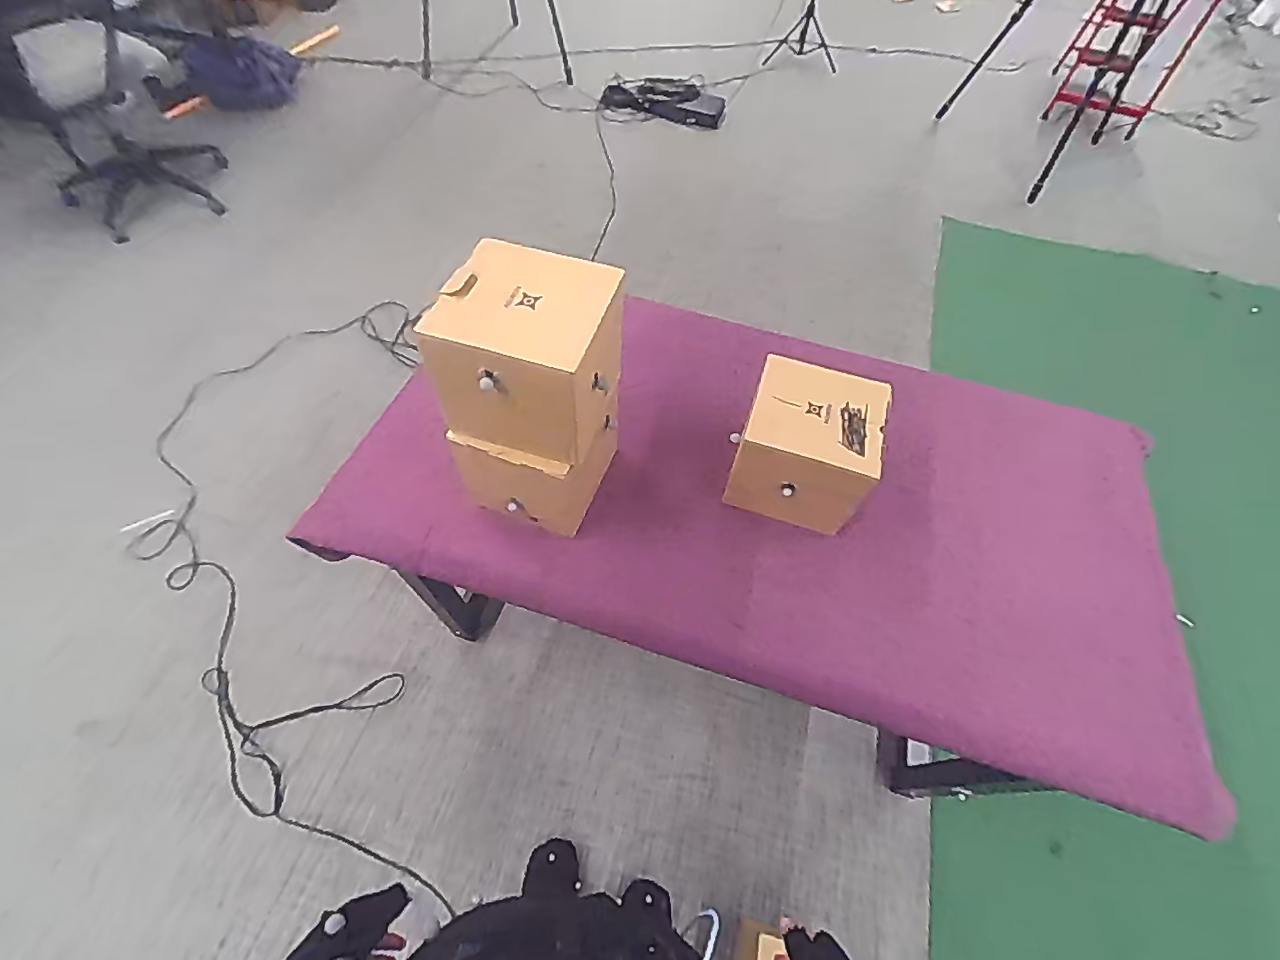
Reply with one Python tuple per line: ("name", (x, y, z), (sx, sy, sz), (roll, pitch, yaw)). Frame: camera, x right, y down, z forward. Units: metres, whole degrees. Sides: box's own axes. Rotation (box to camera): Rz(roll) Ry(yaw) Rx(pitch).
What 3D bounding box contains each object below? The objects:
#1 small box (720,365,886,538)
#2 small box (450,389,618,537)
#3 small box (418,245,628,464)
("small box", (0.233, -0.034, 0.797), (0.179, 0.176, 0.168), (18, 59, 8))
("small box", (-0.142, -0.048, 0.777), (0.168, 0.176, 0.179), (20, 59, 8))
("small box", (-0.123, -0.141, 0.644), (0.179, 0.176, 0.168), (16, 59, 6))
